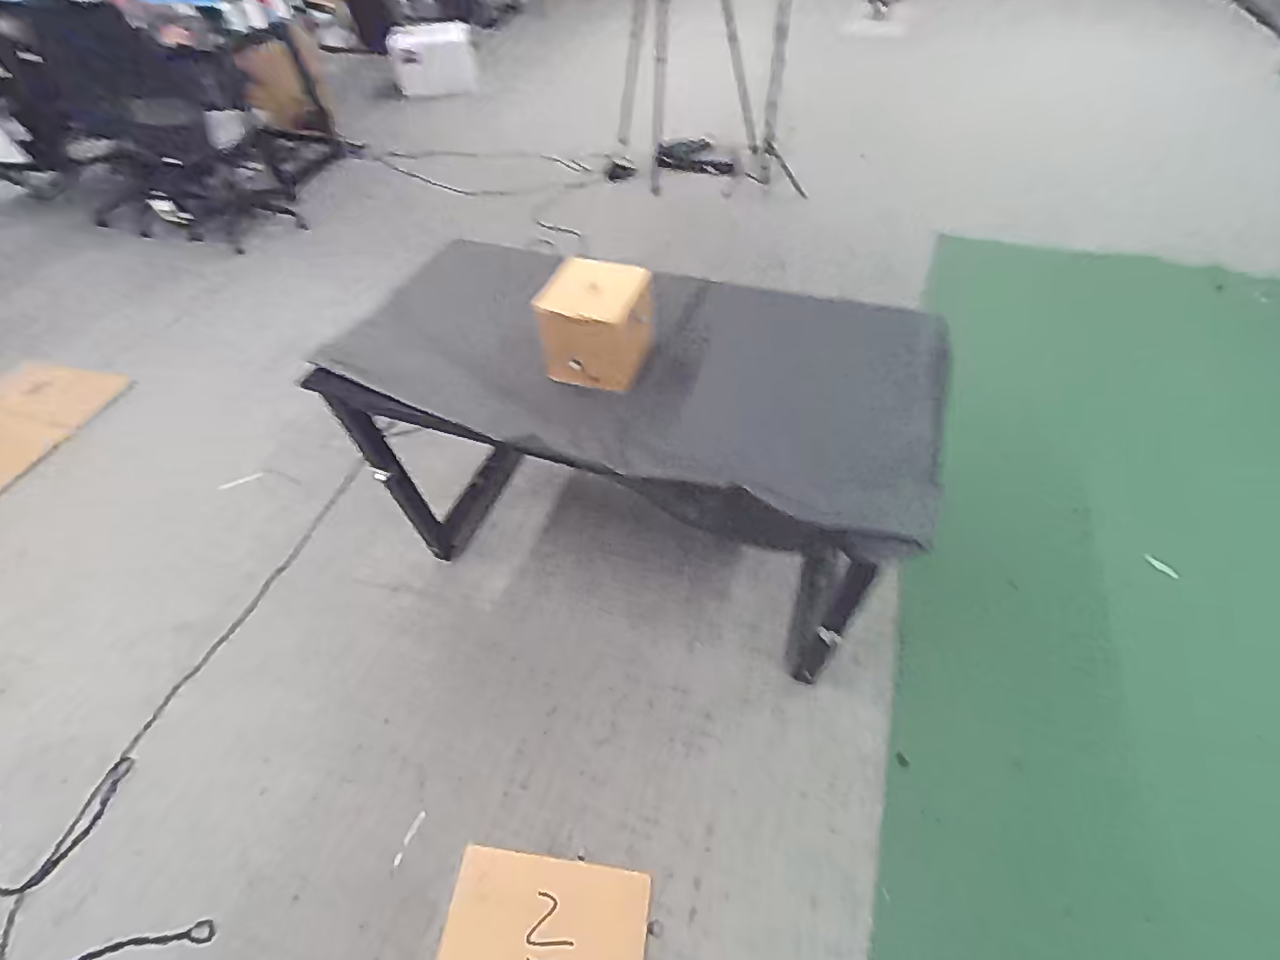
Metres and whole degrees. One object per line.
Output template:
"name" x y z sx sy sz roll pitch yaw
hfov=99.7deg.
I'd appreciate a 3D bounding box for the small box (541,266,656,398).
"small box" -0.073 -0.291 1.068 0.168 0.176 0.179 14 55 14
